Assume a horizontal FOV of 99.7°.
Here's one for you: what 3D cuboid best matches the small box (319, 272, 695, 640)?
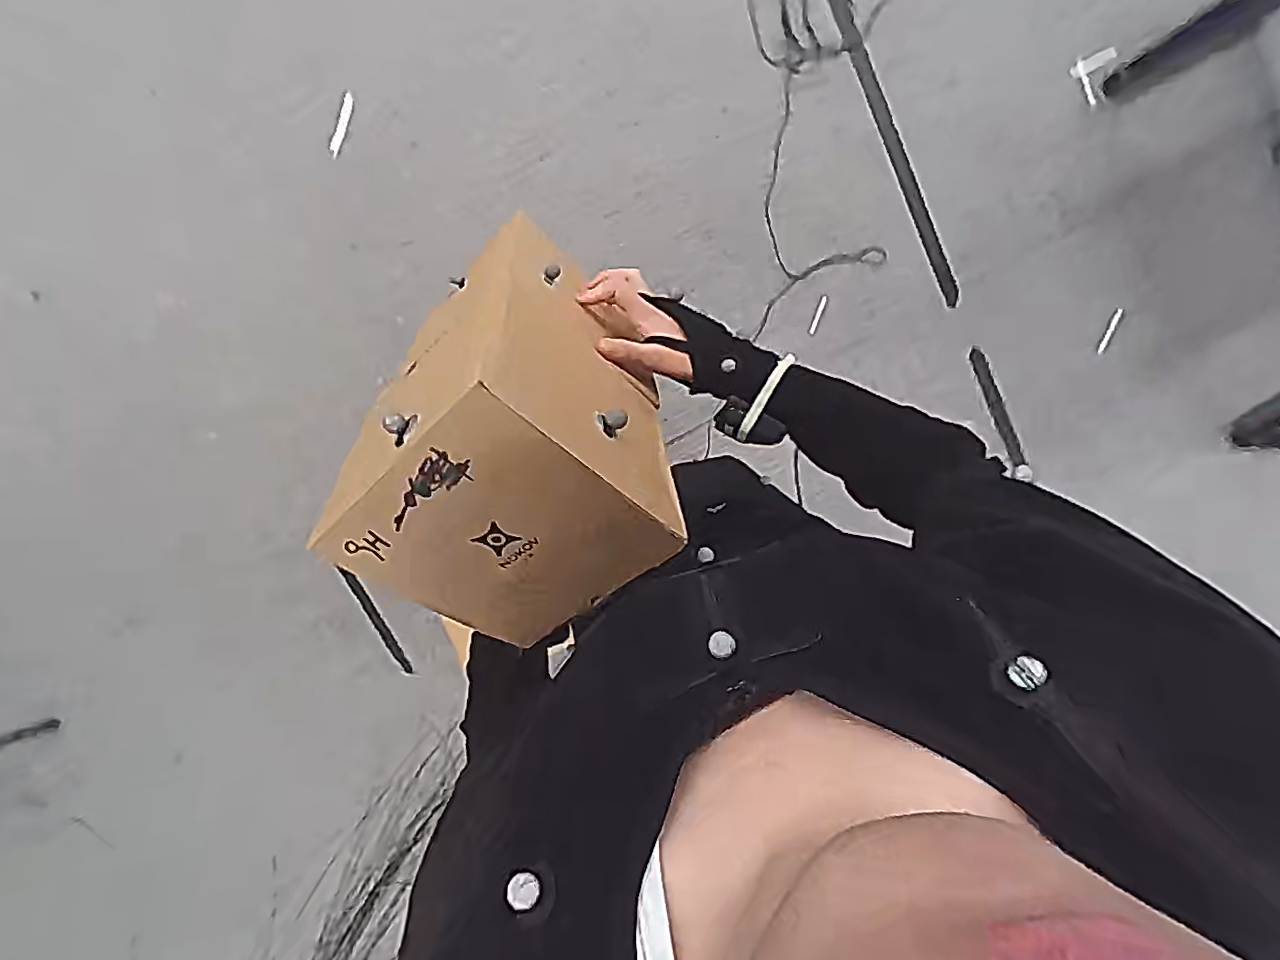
[{"bbox_3d":[-0.086,-0.016,0.400,0.168,0.176,0.179,-36,127,21],"label":"small box"}]
